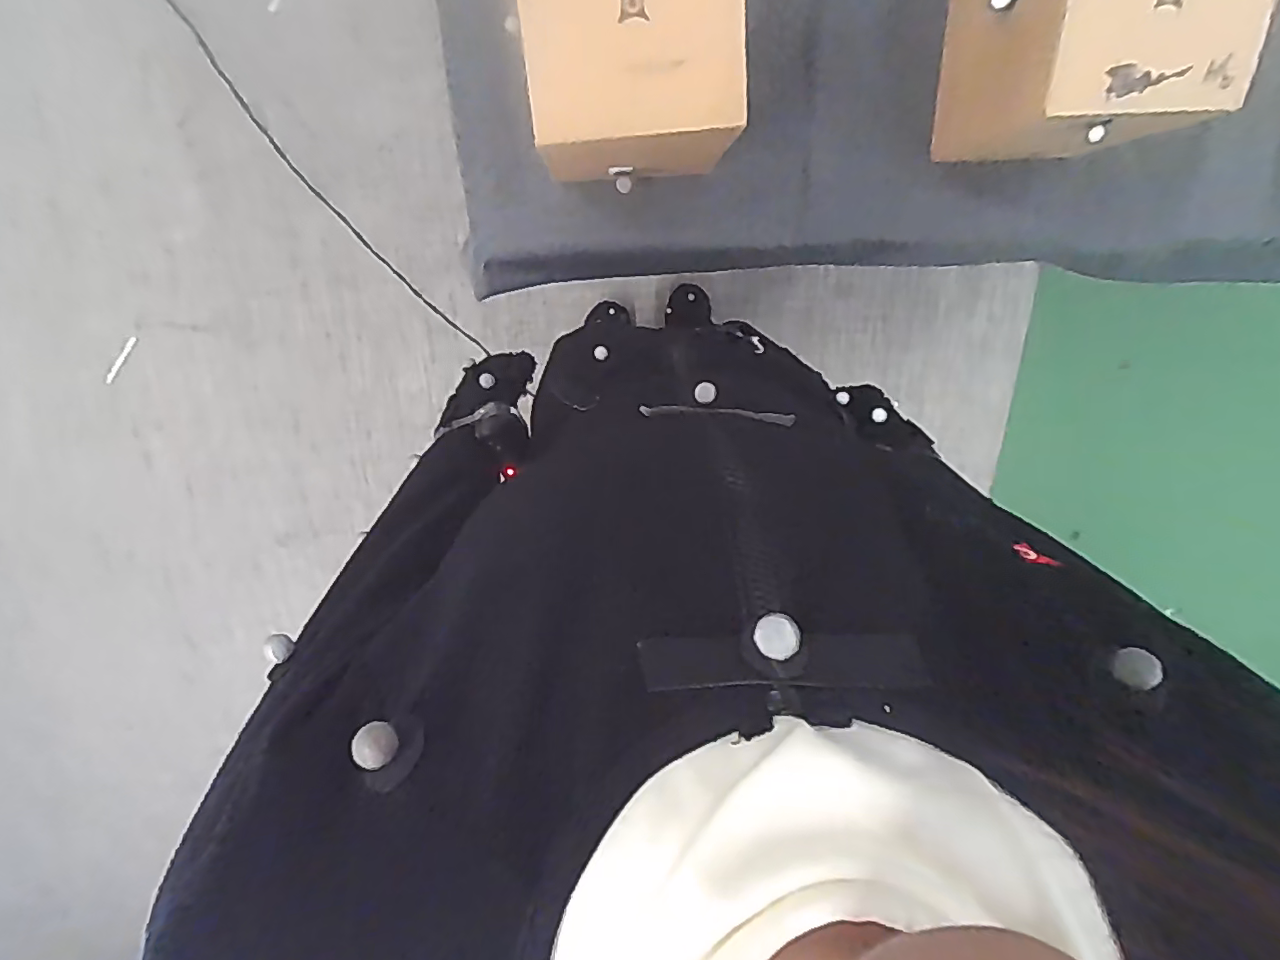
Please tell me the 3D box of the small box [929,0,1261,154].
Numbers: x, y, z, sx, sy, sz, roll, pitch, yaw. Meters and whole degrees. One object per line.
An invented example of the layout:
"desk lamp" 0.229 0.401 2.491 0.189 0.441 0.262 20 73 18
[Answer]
"small box" 0.385 -0.408 0.476 0.168 0.176 0.179 -3 110 -2

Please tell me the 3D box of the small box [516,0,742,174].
"small box" -0.014 -0.381 0.461 0.168 0.176 0.179 -6 110 0
